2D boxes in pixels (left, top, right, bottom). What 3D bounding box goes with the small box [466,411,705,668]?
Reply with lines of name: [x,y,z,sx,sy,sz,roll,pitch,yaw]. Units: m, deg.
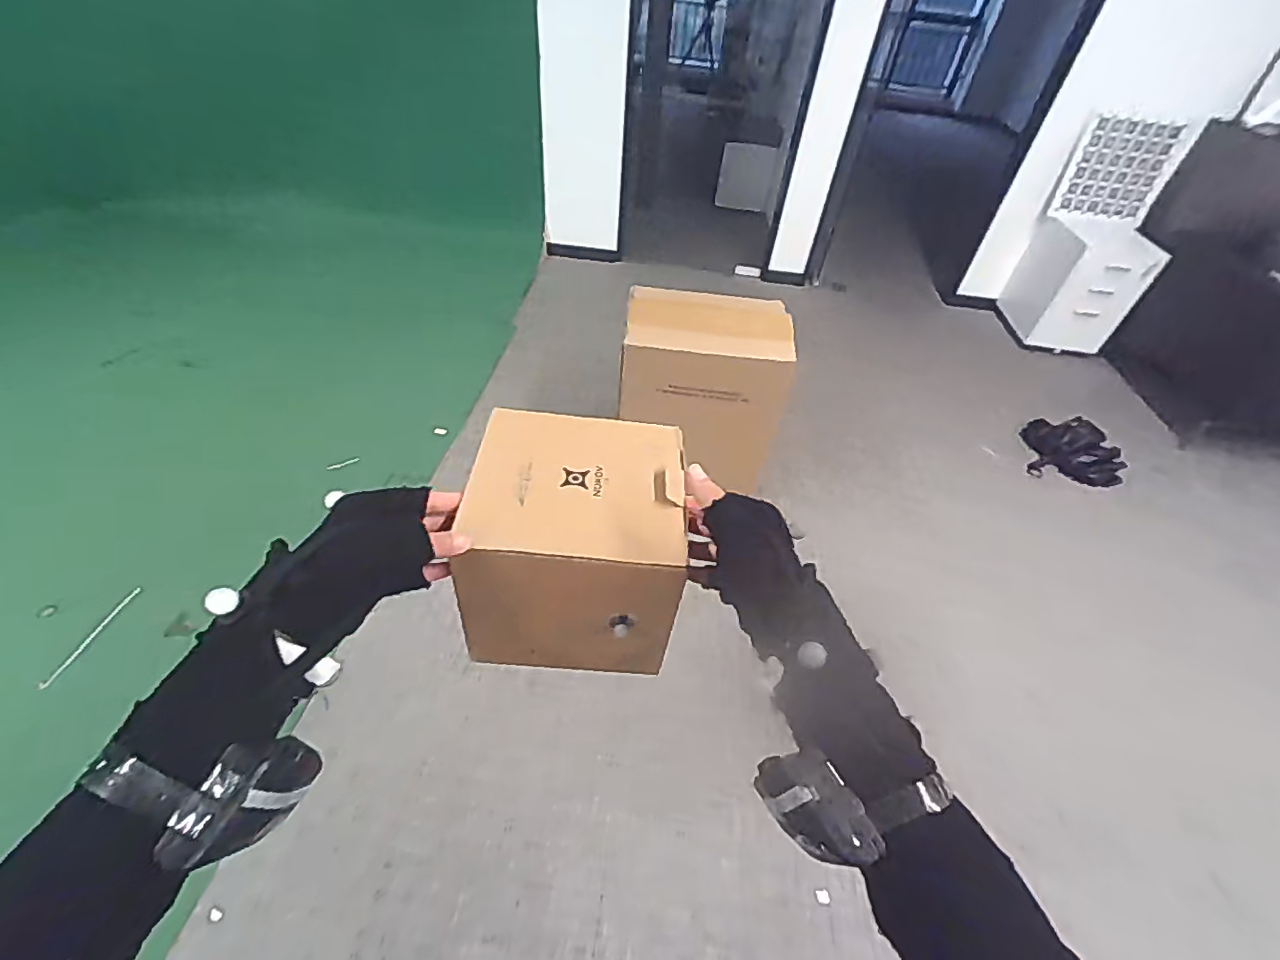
small box: [-0.046,0.058,0.502,0.179,0.176,0.168,4,43,-4]
